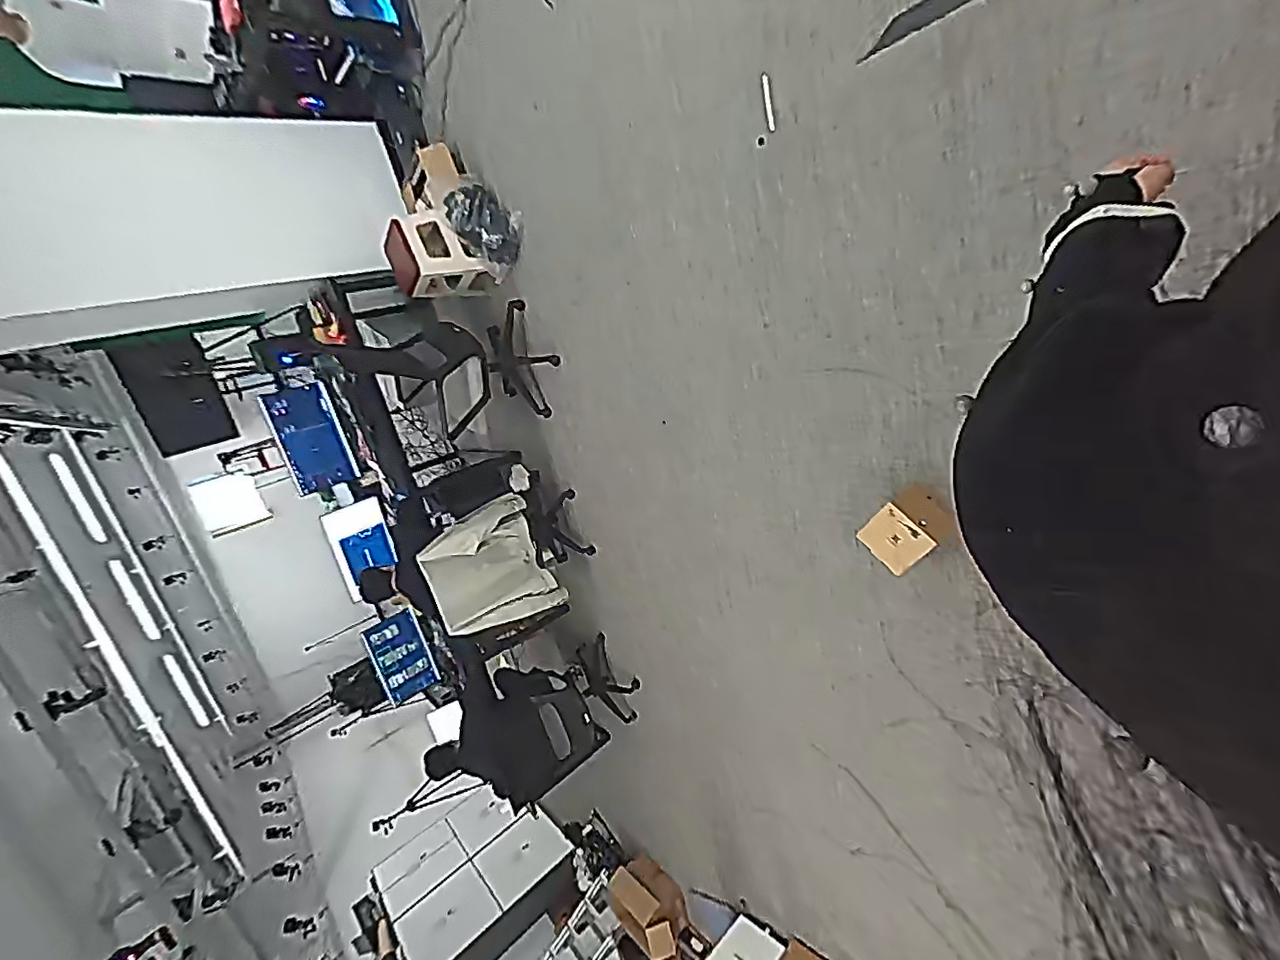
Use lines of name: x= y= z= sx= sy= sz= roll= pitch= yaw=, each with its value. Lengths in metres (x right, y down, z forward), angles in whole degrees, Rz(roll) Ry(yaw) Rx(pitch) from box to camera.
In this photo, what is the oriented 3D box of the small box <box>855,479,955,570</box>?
small box: x=0.778 y=0.127 z=1.585 sx=0.168 sy=0.176 sz=0.179 roll=49 pitch=143 yaw=22
